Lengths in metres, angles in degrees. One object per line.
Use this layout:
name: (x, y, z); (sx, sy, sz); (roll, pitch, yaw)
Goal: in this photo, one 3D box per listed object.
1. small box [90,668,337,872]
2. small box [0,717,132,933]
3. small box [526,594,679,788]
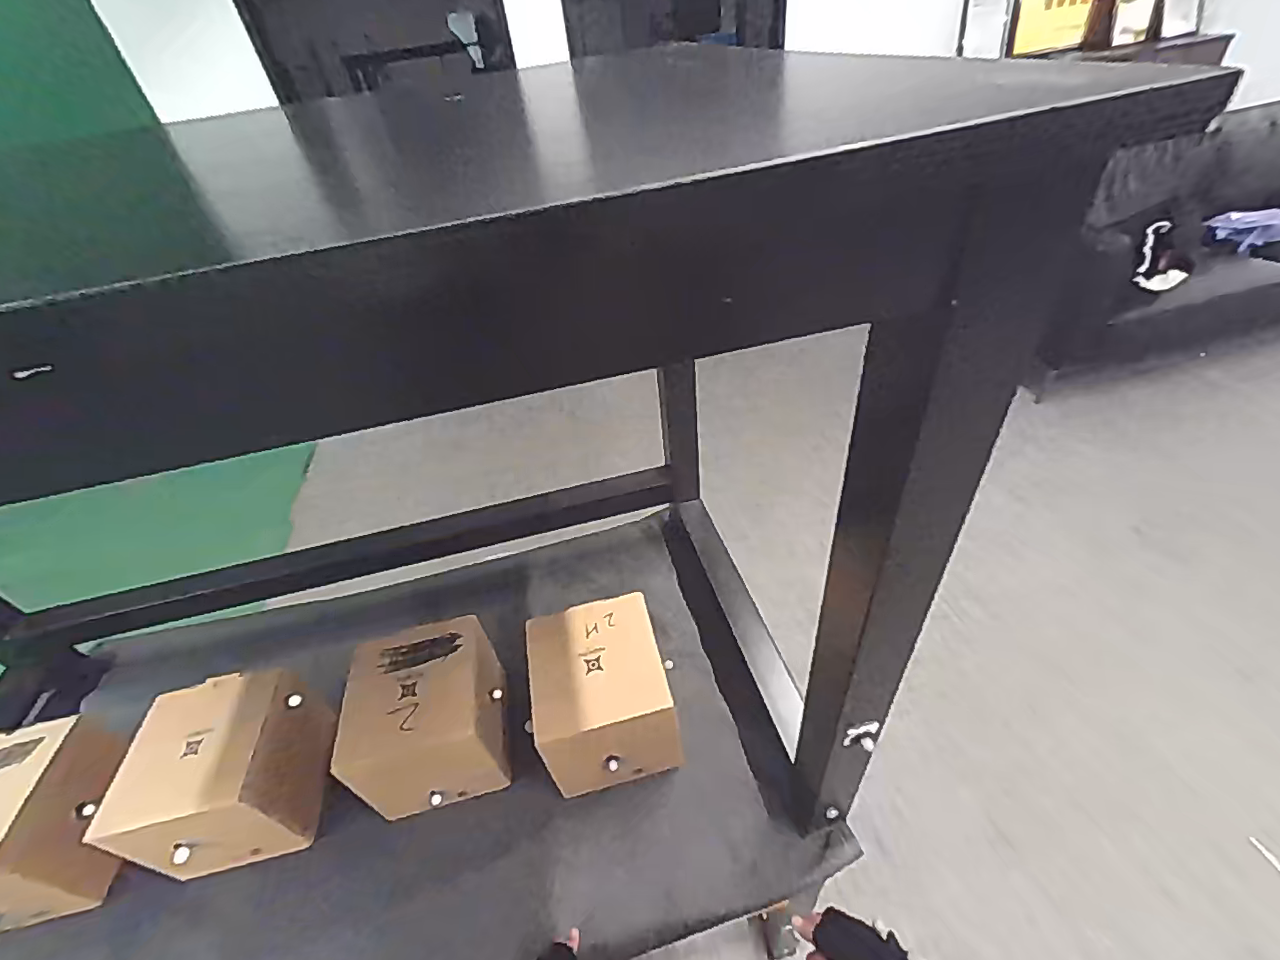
small box: (-0.531, 0.384, 0.710); (0.168, 0.176, 0.179); (-12, 40, -5)
small box: (-0.777, 0.438, 0.685); (0.168, 0.176, 0.179); (-12, 41, -5)
small box: (-0.050, 0.291, 0.734); (0.168, 0.176, 0.179); (-13, 40, -5)
